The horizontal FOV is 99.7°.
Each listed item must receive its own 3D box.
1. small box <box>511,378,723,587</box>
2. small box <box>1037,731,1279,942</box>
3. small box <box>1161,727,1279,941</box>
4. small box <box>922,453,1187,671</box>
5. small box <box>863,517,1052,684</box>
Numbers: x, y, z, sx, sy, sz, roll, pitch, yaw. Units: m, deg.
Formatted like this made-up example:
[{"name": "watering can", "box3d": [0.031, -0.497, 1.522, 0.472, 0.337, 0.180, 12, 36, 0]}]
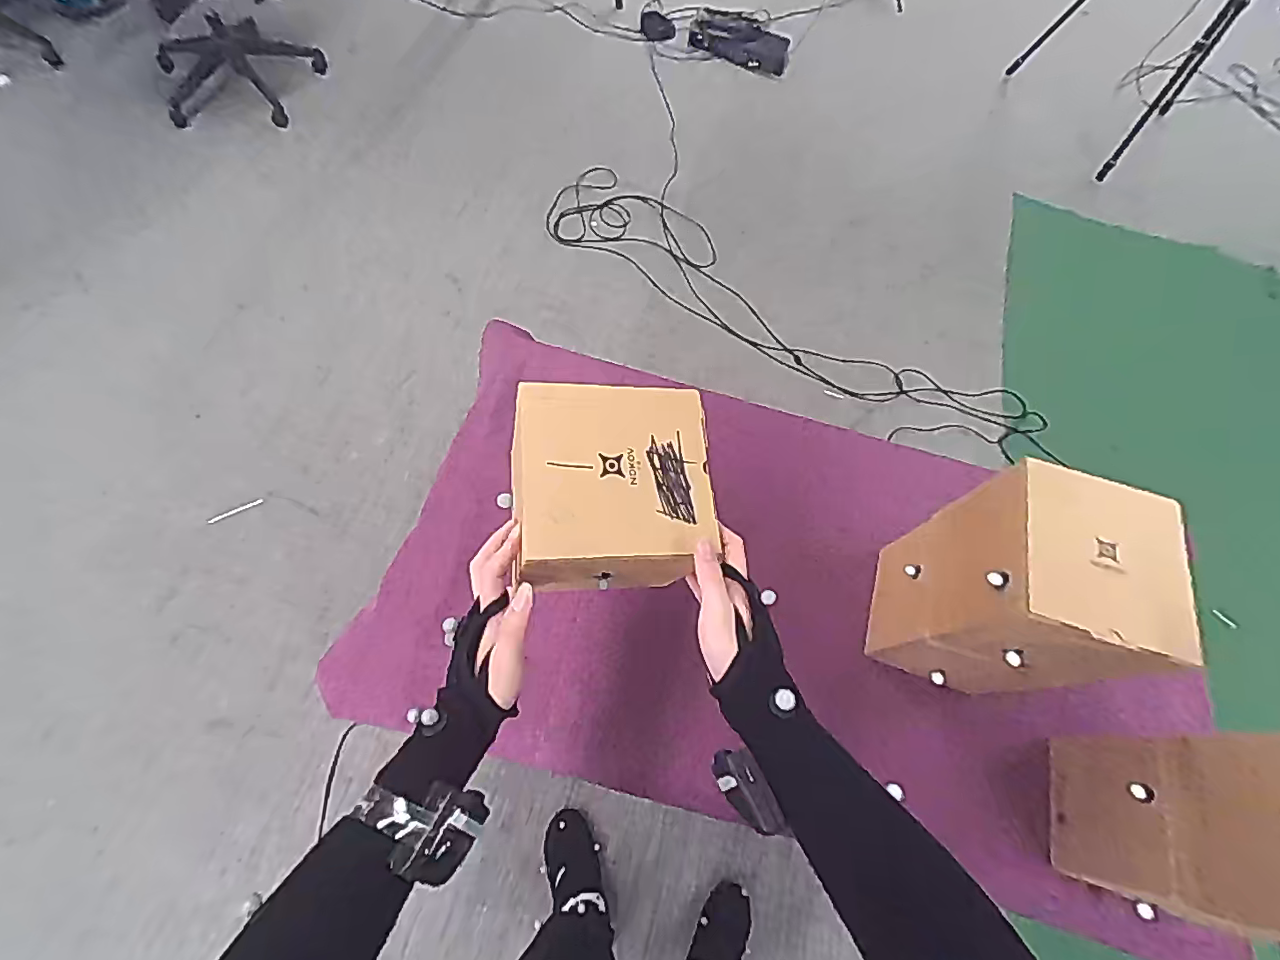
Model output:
[{"name": "small box", "box3d": [-0.036, 0.014, 0.551, 0.179, 0.176, 0.168, 1, 71, -16]}, {"name": "small box", "box3d": [0.638, 0.421, 0.665, 0.179, 0.176, 0.168, 20, 64, 3]}, {"name": "small box", "box3d": [0.657, 0.351, 0.518, 0.168, 0.176, 0.179, 19, 65, 5]}, {"name": "small box", "box3d": [0.445, 0.101, 0.609, 0.168, 0.176, 0.179, 18, 66, 1]}, {"name": "small box", "box3d": [0.435, 0.169, 0.756, 0.168, 0.176, 0.179, 20, 66, 3]}]
